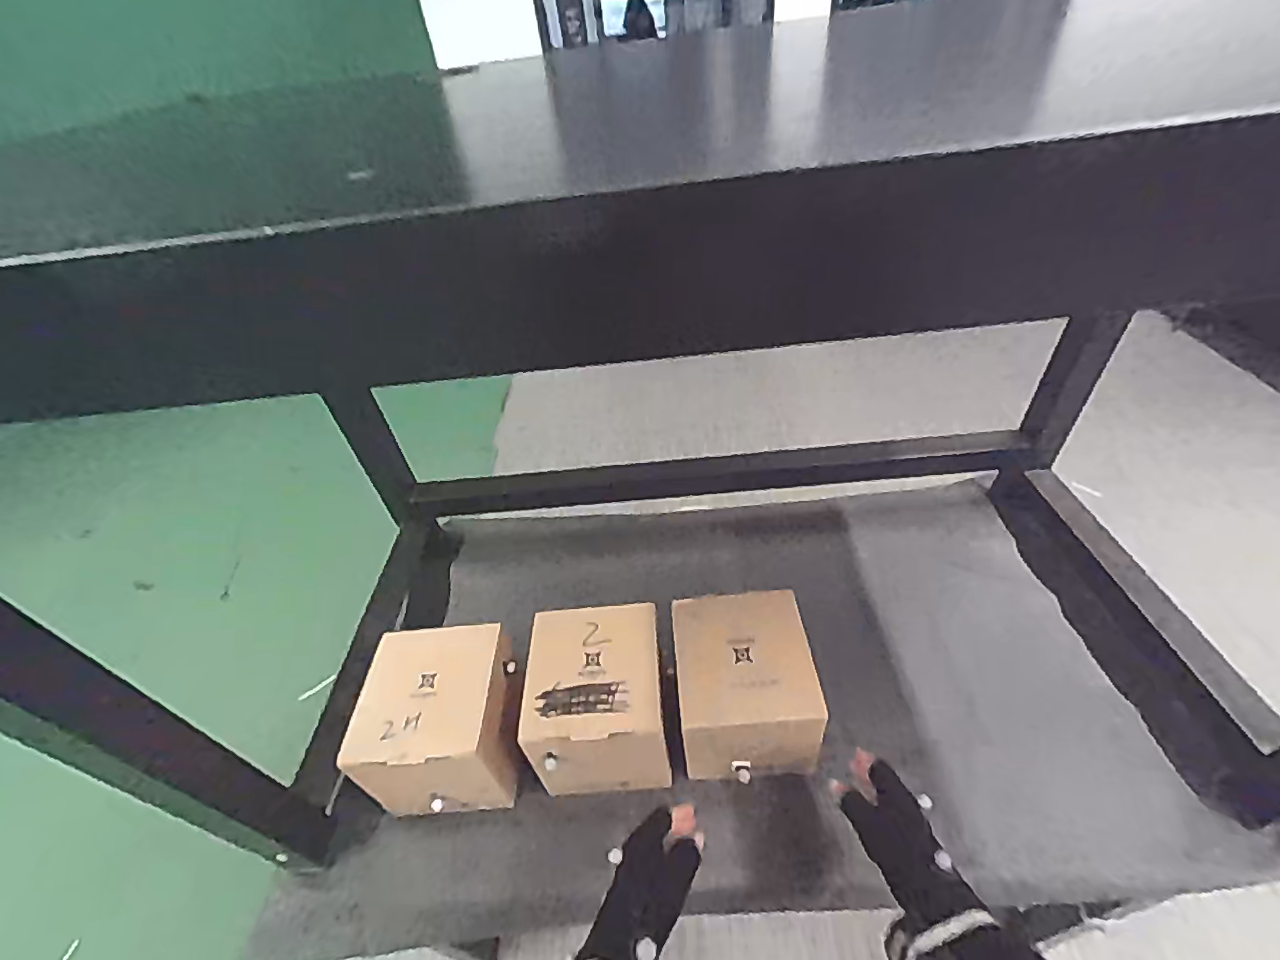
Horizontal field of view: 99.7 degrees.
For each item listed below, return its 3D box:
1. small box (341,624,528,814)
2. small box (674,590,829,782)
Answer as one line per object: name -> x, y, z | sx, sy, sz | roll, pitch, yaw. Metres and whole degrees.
small box -> -0.254, 0.318, 0.724 | 0.168, 0.176, 0.179 | -6, 41, 2
small box -> 0.136, 0.273, 0.718 | 0.168, 0.176, 0.179 | -7, 42, 3
